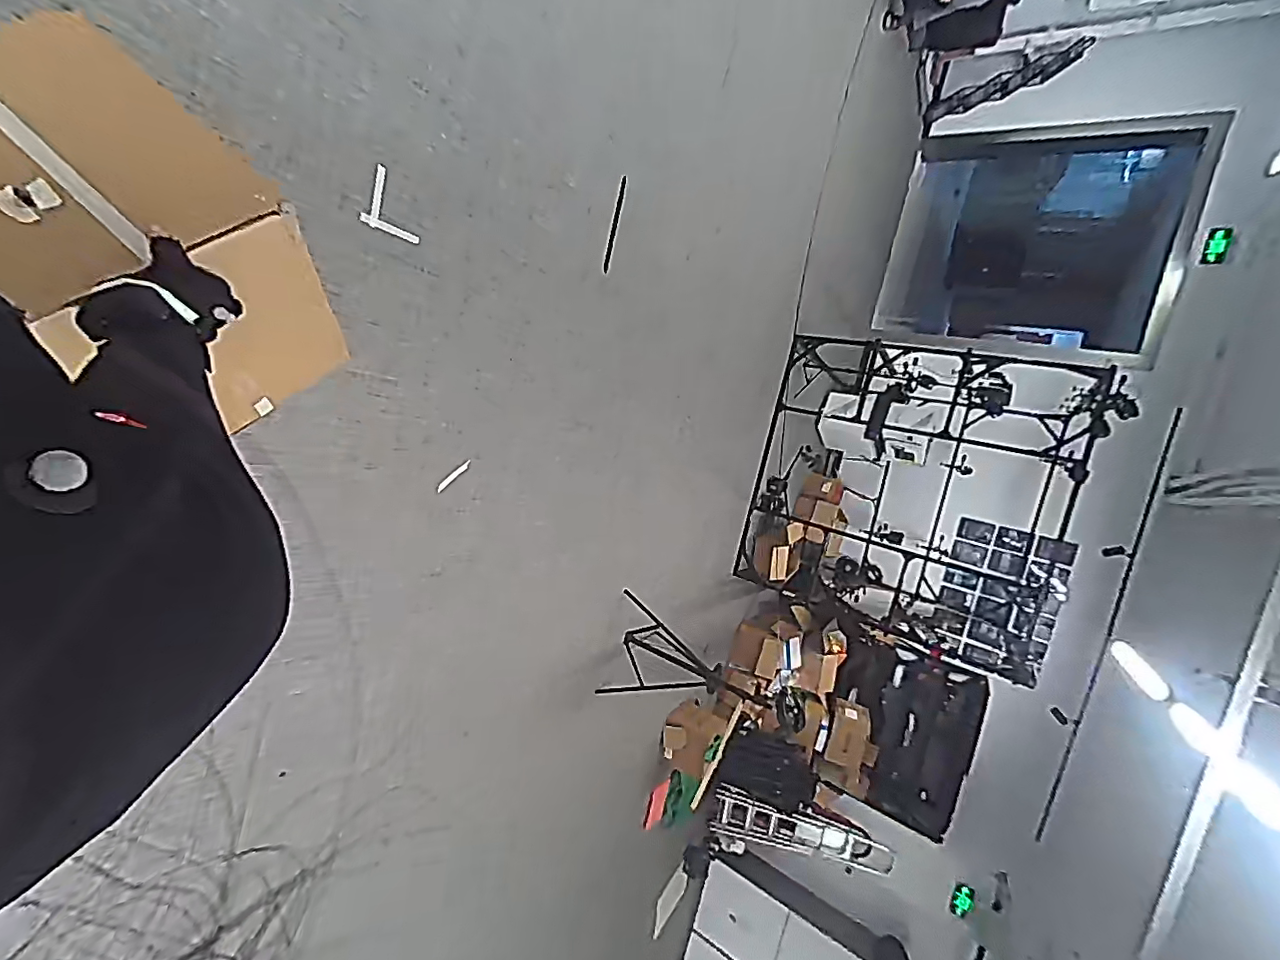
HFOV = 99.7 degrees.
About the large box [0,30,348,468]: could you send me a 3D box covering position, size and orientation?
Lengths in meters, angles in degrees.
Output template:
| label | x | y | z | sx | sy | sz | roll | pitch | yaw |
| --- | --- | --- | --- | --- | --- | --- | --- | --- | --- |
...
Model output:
| label | x | y | z | sx | sy | sz | roll | pitch | yaw |
| --- | --- | --- | --- | --- | --- | --- | --- | --- | --- |
| large box | -0.699 | -0.295 | 0.742 | 0.320 | 0.408 | 0.320 | -47 | 175 | -26 |
